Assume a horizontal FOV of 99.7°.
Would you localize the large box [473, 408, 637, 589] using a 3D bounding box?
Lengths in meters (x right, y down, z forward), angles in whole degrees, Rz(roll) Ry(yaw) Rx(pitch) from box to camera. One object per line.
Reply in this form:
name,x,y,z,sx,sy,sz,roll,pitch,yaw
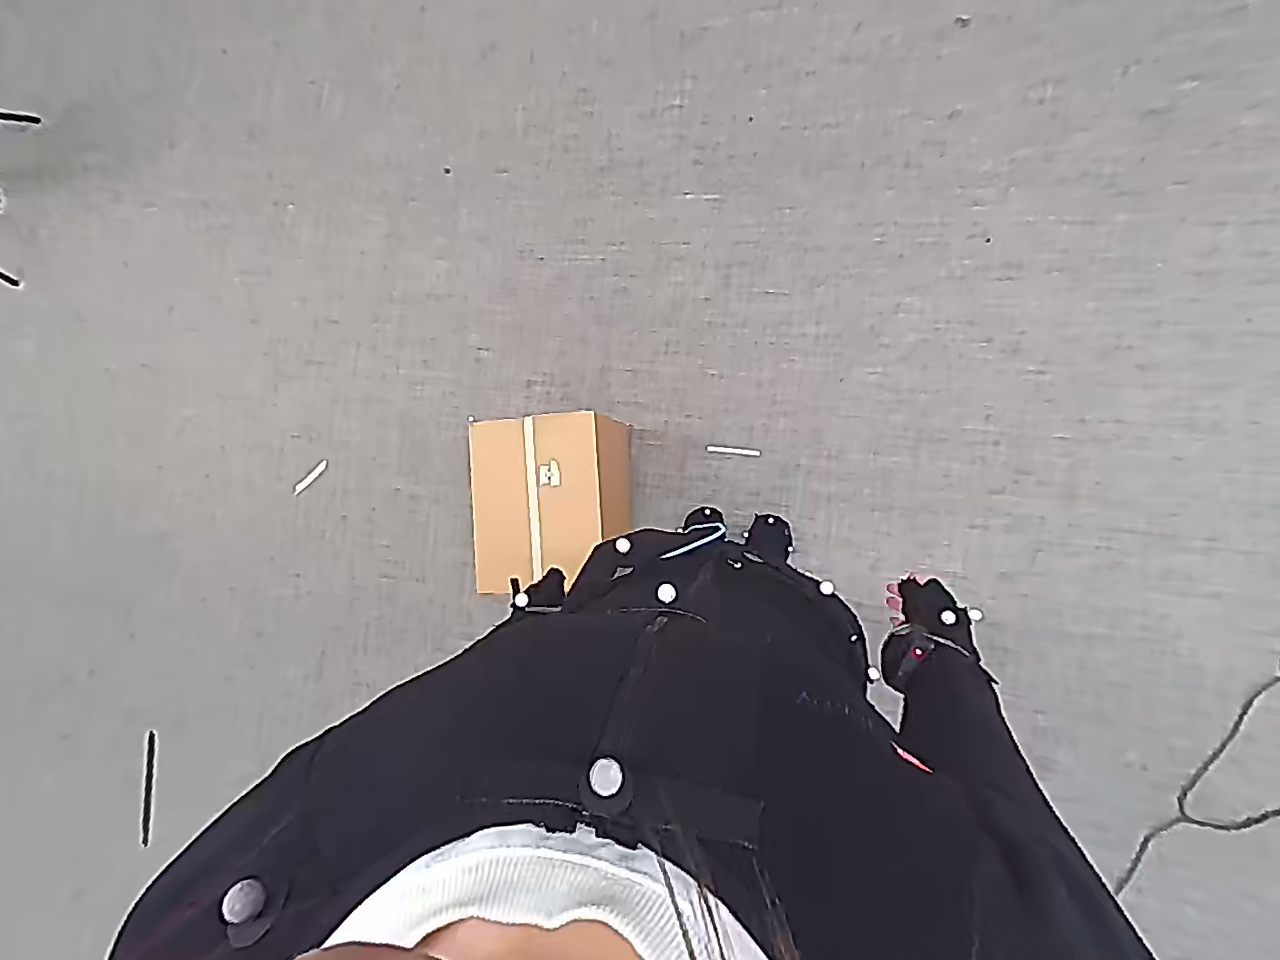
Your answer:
large box,-0.201,0.051,1.383,0.320,0.320,0.408,-4,88,12
